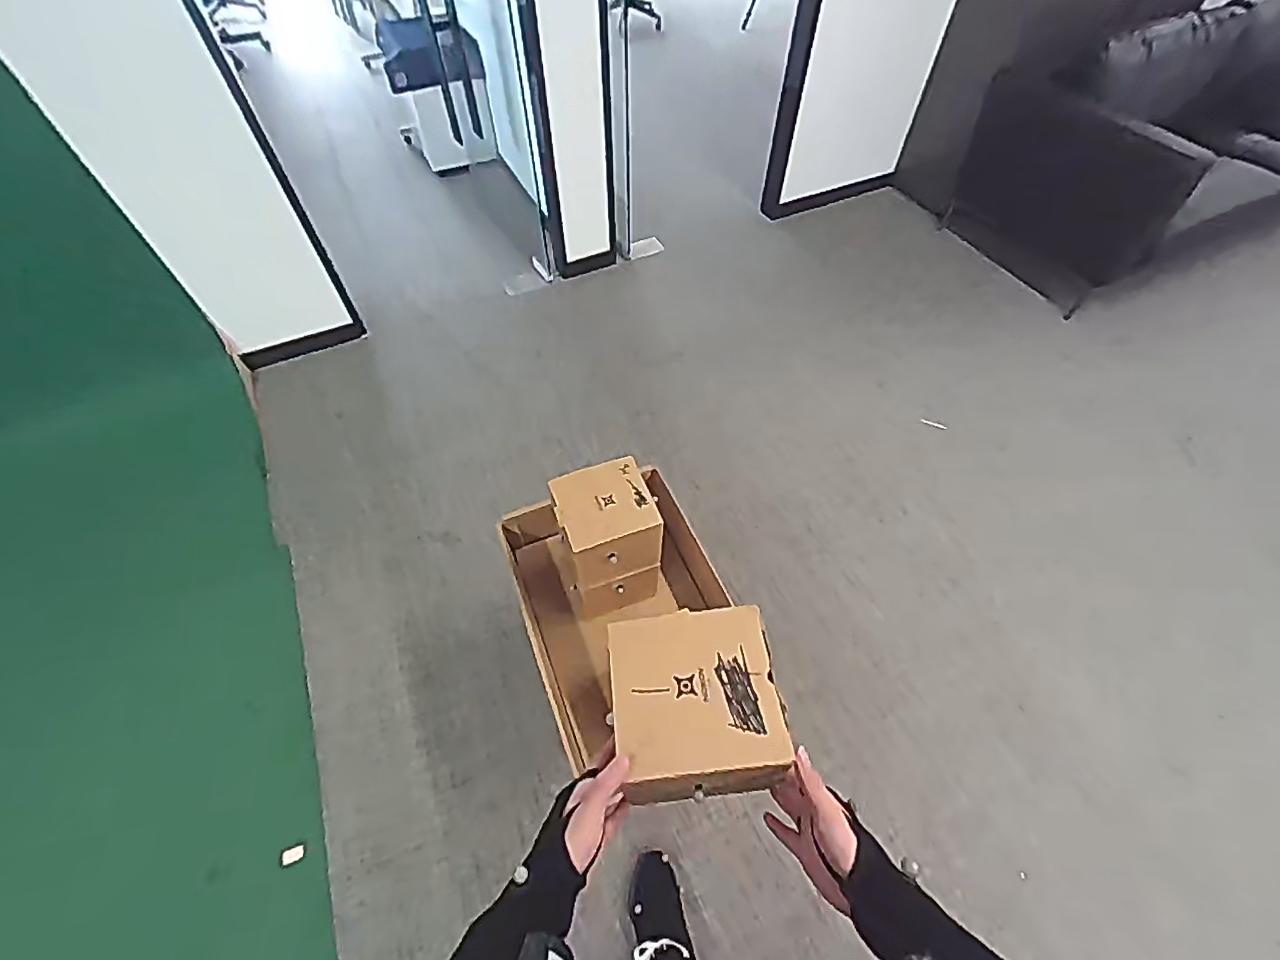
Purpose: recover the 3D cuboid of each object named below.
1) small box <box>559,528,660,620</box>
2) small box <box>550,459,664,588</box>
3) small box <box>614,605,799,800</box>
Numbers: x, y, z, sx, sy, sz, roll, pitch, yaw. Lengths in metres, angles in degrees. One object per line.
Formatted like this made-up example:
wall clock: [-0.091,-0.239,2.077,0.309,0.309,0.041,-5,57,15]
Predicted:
small box: [-0.067,0.188,1.196,0.179,0.176,0.168,-16,57,-13]
small box: [-0.063,0.091,1.063,0.179,0.176,0.168,-17,58,-12]
small box: [0.066,0.263,0.631,0.179,0.176,0.168,-6,52,0]
